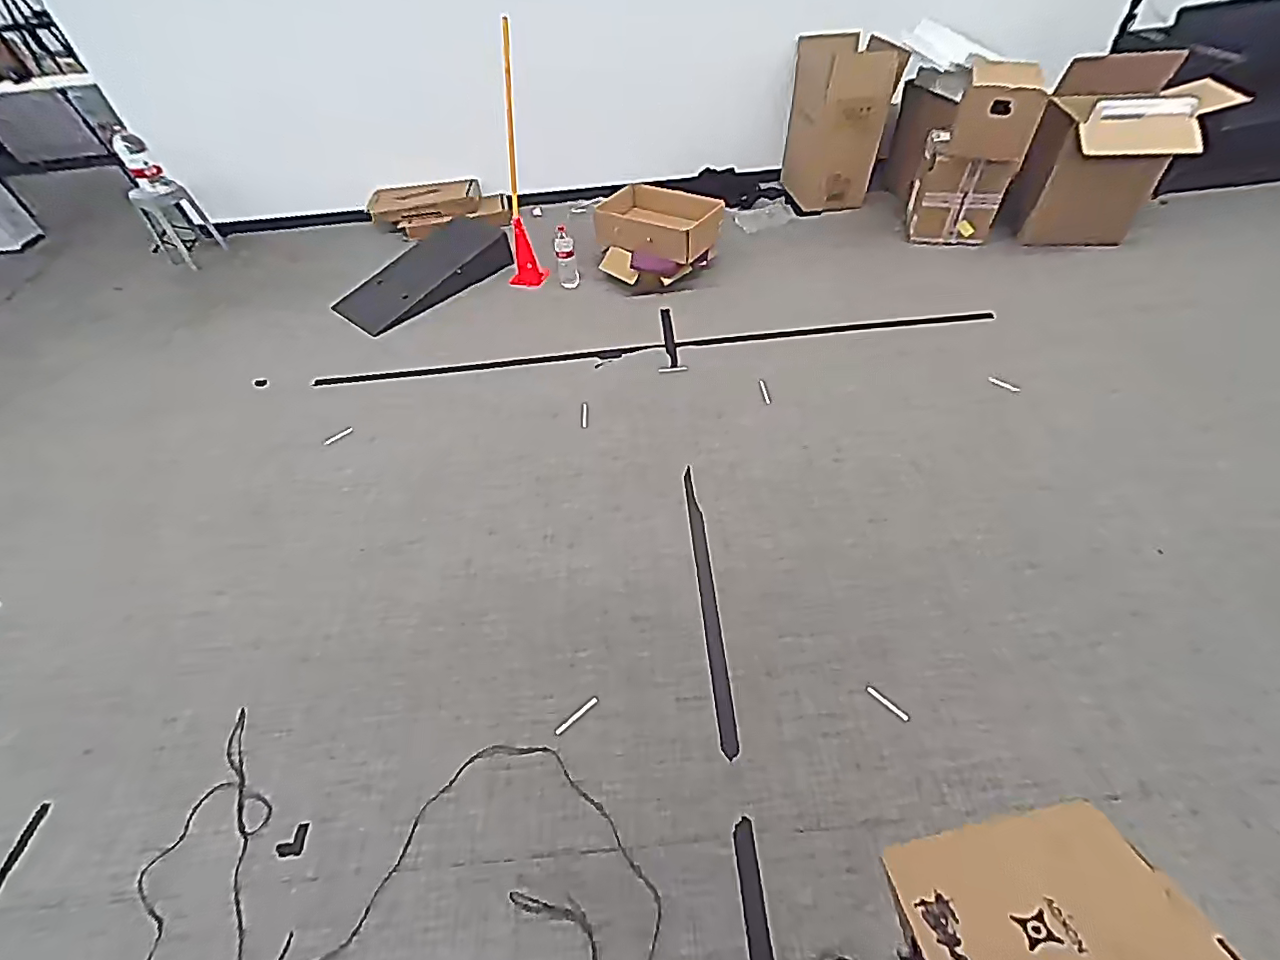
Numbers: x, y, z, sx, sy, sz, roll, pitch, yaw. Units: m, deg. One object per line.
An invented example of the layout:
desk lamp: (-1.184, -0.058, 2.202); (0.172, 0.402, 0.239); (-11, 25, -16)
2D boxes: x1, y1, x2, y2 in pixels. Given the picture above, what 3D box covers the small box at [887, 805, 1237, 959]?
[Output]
small box: (0.314, 0.388, 0.397); (0.179, 0.176, 0.168); (-18, 13, 6)
